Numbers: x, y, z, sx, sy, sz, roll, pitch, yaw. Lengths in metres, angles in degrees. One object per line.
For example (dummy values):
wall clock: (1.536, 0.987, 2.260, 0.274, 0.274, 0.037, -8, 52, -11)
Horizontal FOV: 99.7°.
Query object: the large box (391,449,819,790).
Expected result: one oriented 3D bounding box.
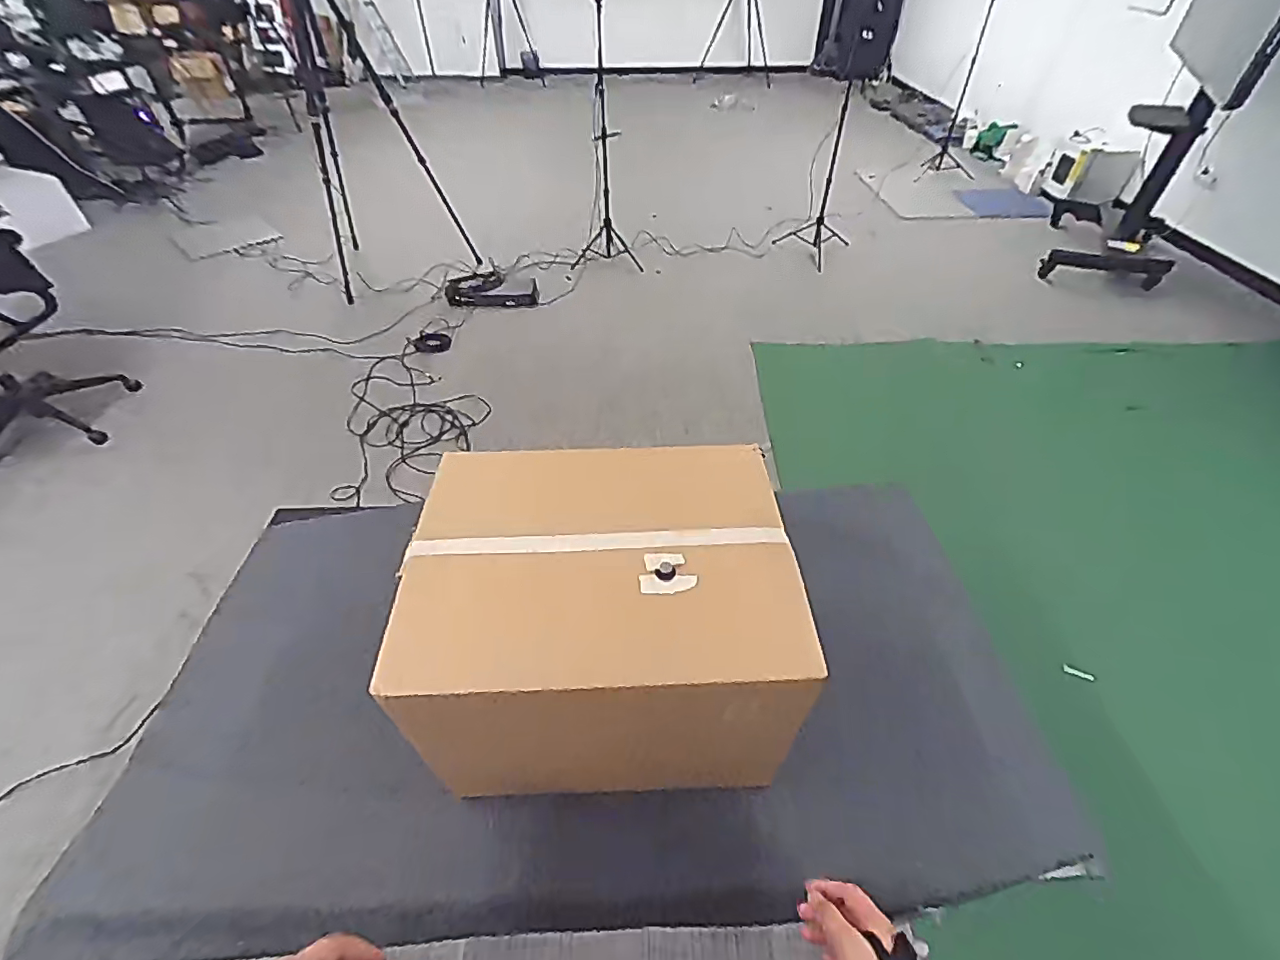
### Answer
large box: (-0.039, 0.179, 0.702, 0.408, 0.320, 0.320, -2, 46, -2)
